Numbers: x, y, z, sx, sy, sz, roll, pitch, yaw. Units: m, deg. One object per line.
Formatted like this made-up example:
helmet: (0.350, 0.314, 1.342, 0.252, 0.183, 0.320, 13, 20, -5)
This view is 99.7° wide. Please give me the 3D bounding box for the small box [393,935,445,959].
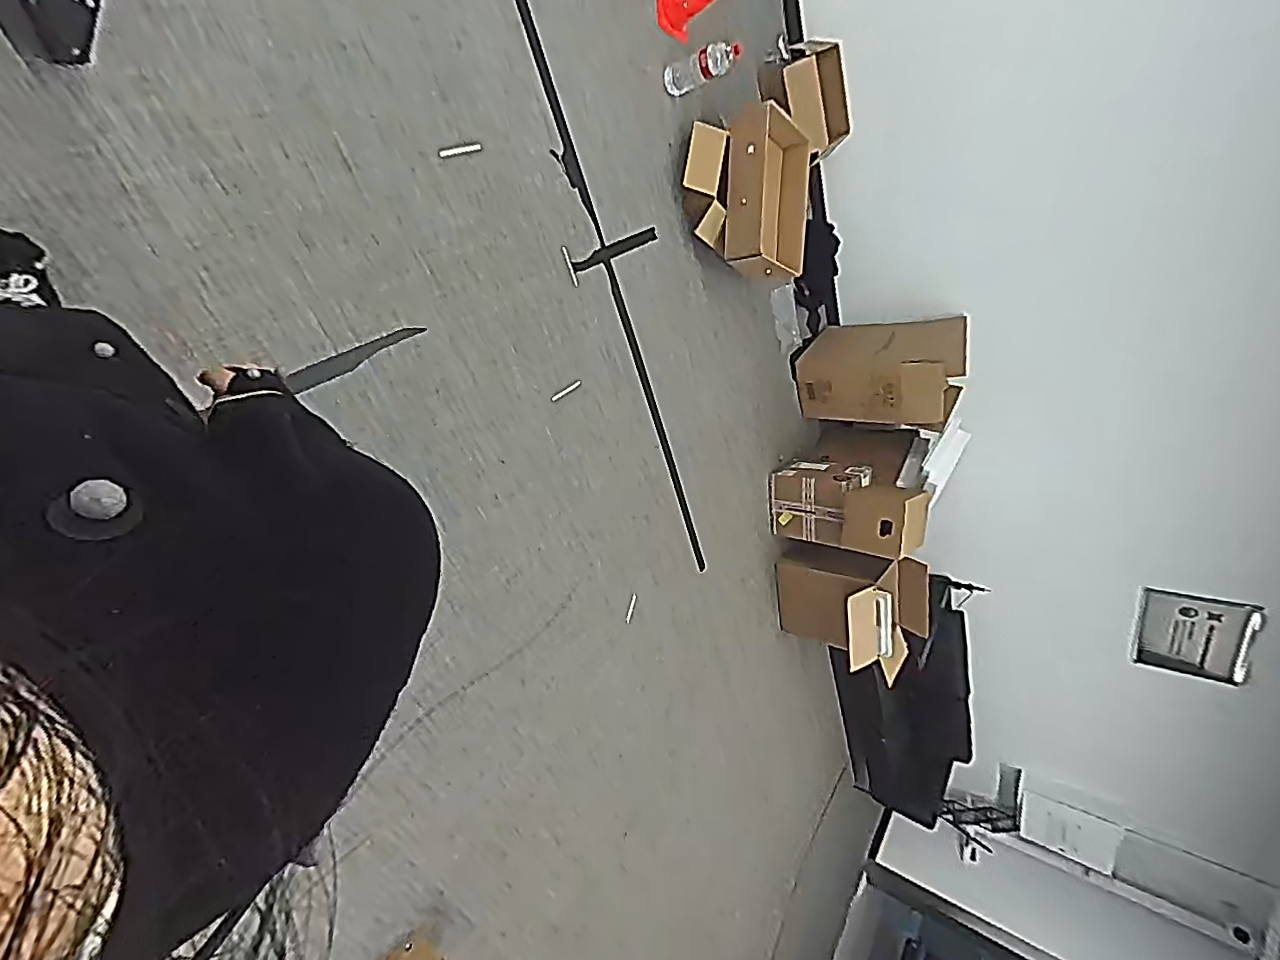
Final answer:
small box: (-0.685, 1.566, 1.671, 0.168, 0.176, 0.179, -44, 127, -36)
